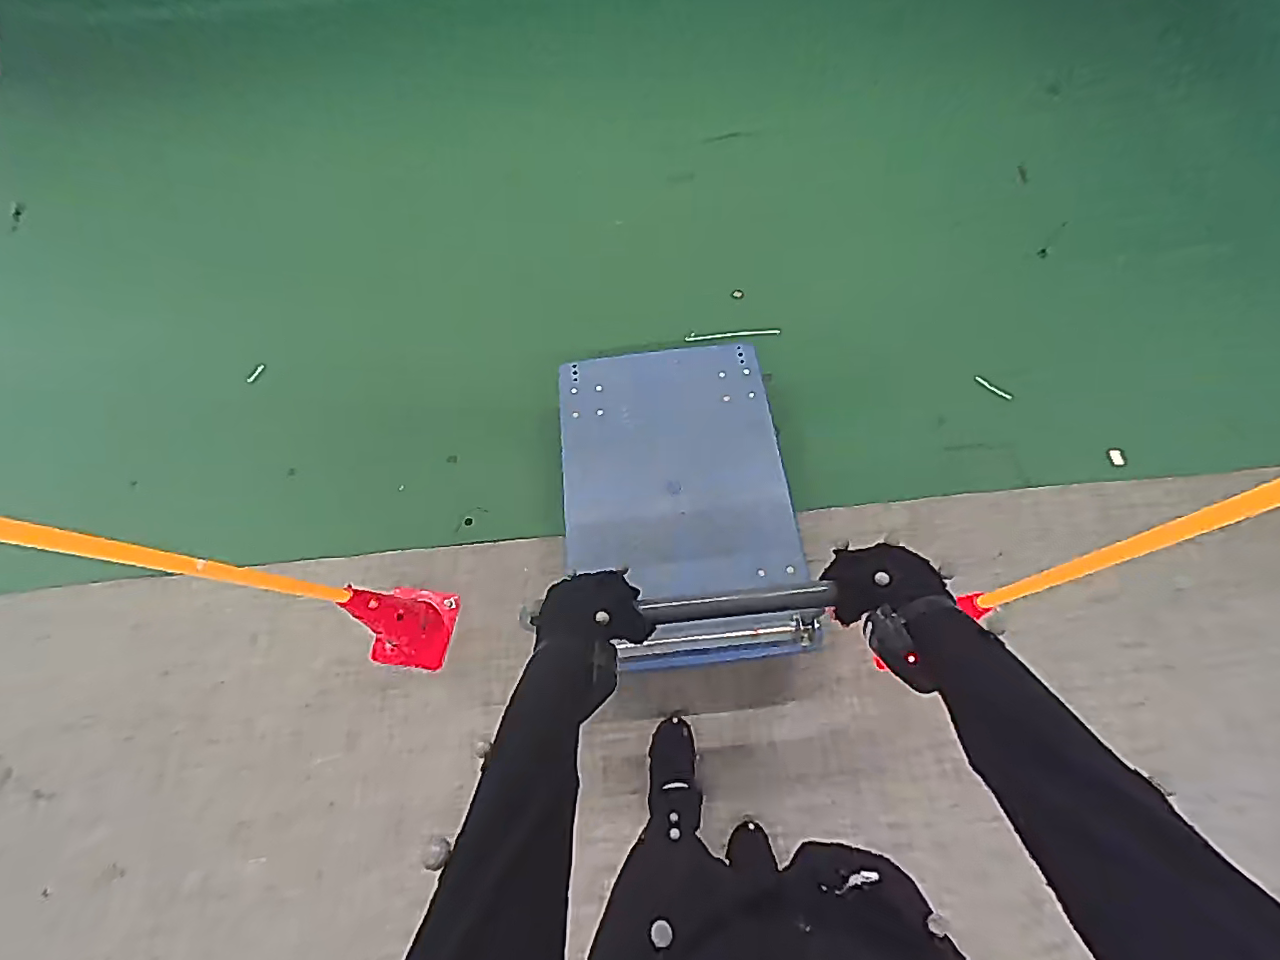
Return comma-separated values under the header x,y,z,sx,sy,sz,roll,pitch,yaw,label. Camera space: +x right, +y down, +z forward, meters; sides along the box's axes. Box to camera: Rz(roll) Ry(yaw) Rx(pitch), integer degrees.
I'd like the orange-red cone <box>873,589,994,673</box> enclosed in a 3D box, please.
x,y,z,sx,sy,sz,roll,pitch,yaw,label
0.687,0.309,1.220,0.198,0.360,0.199,4,66,5,orange-red cone
